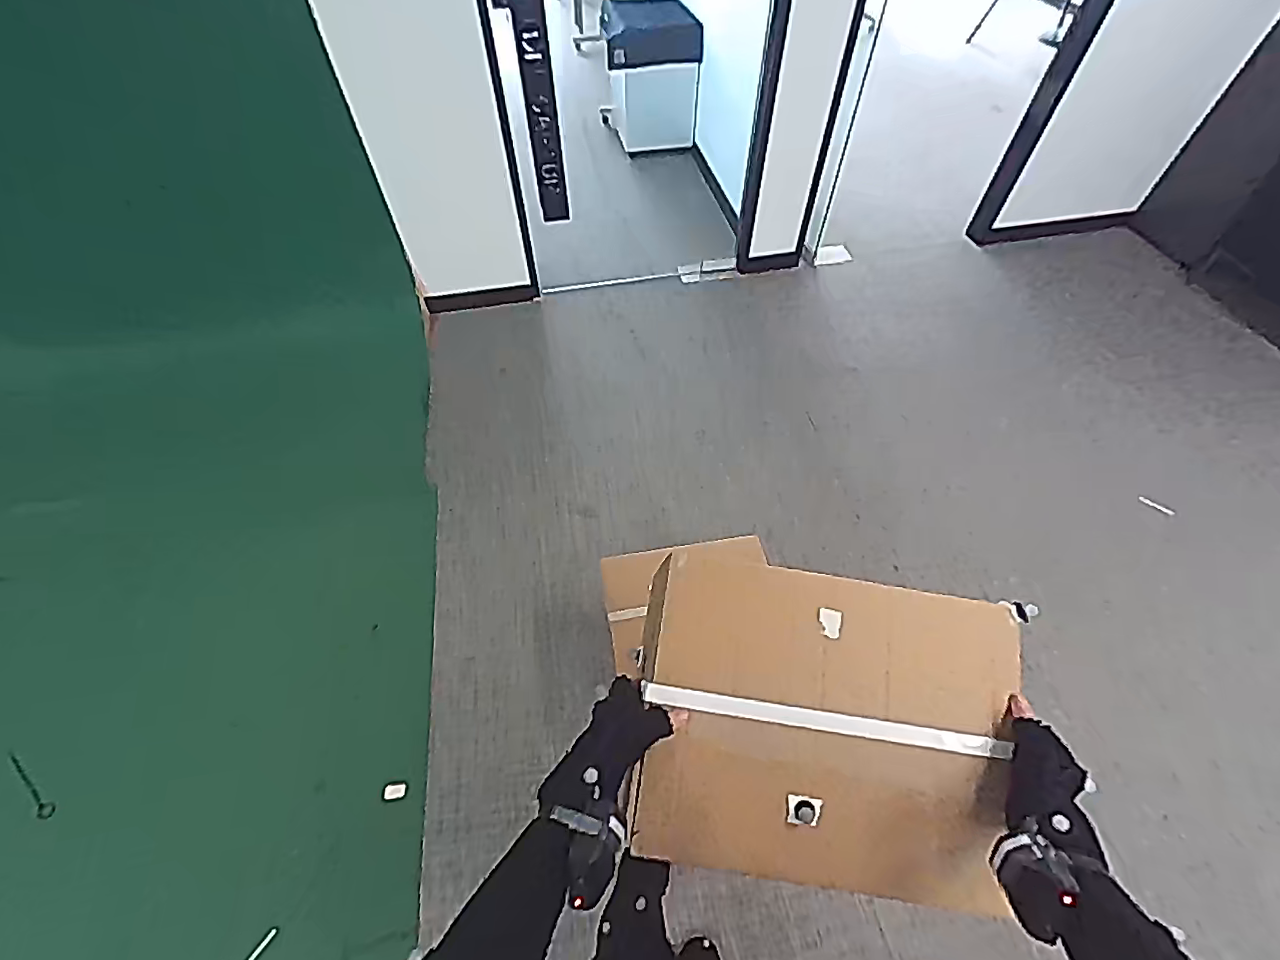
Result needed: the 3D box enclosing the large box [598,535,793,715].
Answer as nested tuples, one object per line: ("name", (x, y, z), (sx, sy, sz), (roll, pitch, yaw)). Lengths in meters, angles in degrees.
("large box", (0.120, 0.374, 1.373), (0.408, 0.320, 0.320), (-8, 54, -5))
